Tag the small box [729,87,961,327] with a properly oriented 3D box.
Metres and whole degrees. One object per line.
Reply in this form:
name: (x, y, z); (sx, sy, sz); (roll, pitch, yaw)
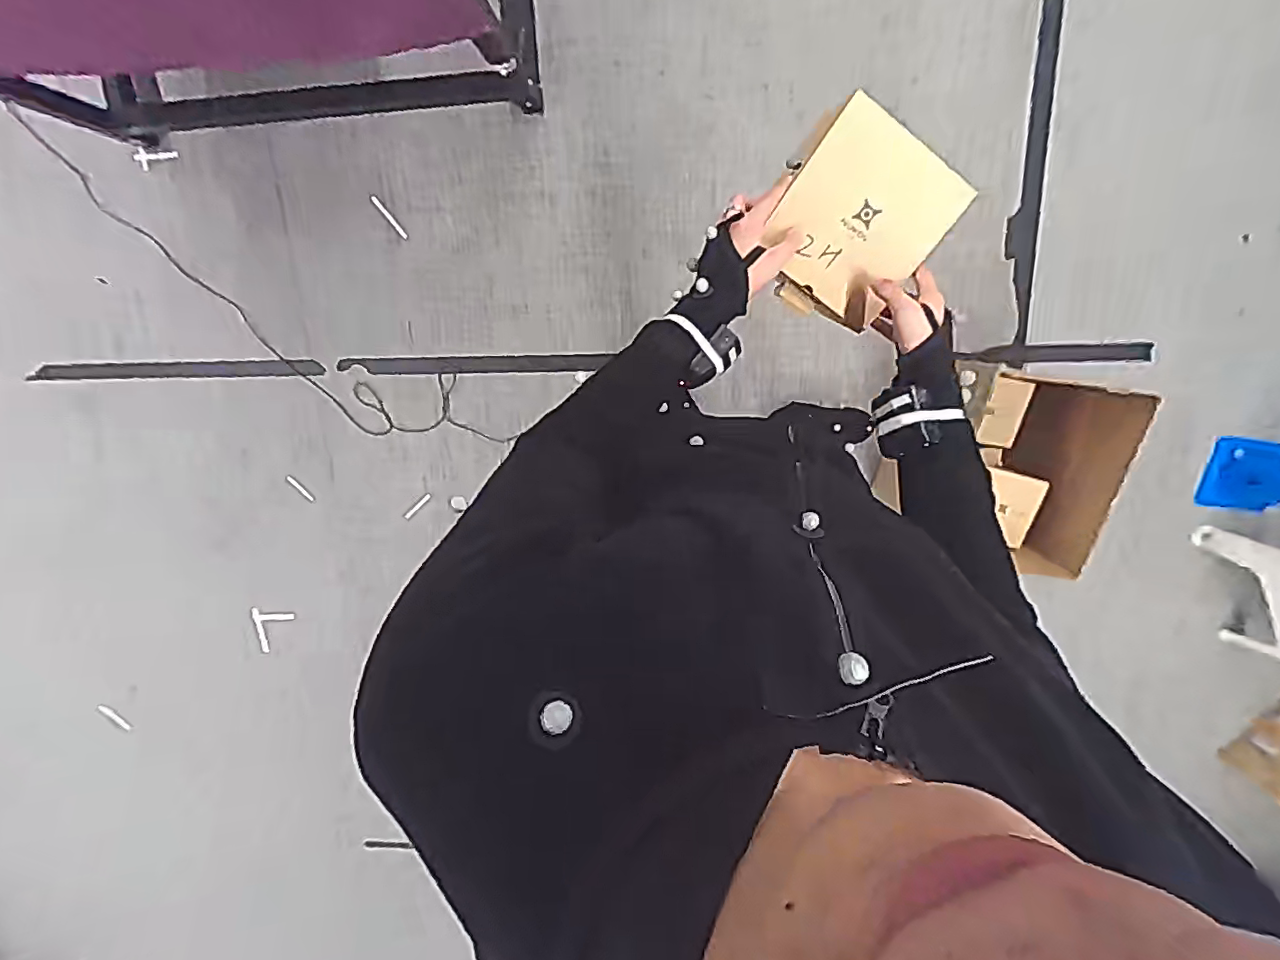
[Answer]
small box: (0.223, -0.312, 0.647); (0.168, 0.176, 0.179); (32, 111, -11)
